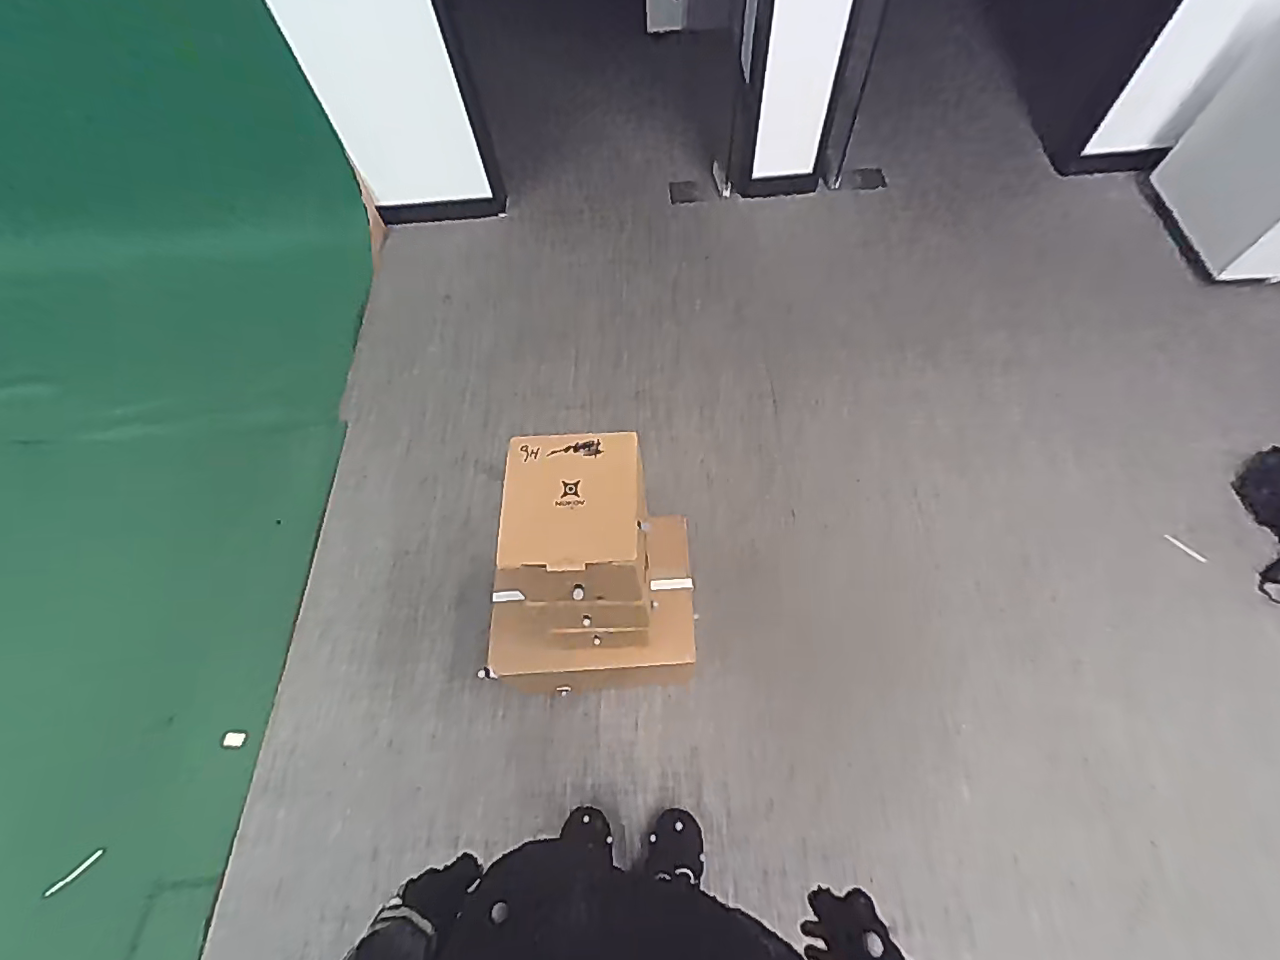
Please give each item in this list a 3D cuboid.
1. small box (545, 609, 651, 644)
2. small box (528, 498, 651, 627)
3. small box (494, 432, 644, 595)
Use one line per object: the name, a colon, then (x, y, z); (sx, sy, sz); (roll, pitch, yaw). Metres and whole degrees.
small box: (-0.071, 0.210, 1.013); (0.179, 0.176, 0.168); (-2, 64, 2)
small box: (-0.073, 0.136, 0.866); (0.179, 0.176, 0.168); (-4, 64, 1)
small box: (-0.082, 0.054, 0.724); (0.168, 0.176, 0.179); (-2, 65, 4)
